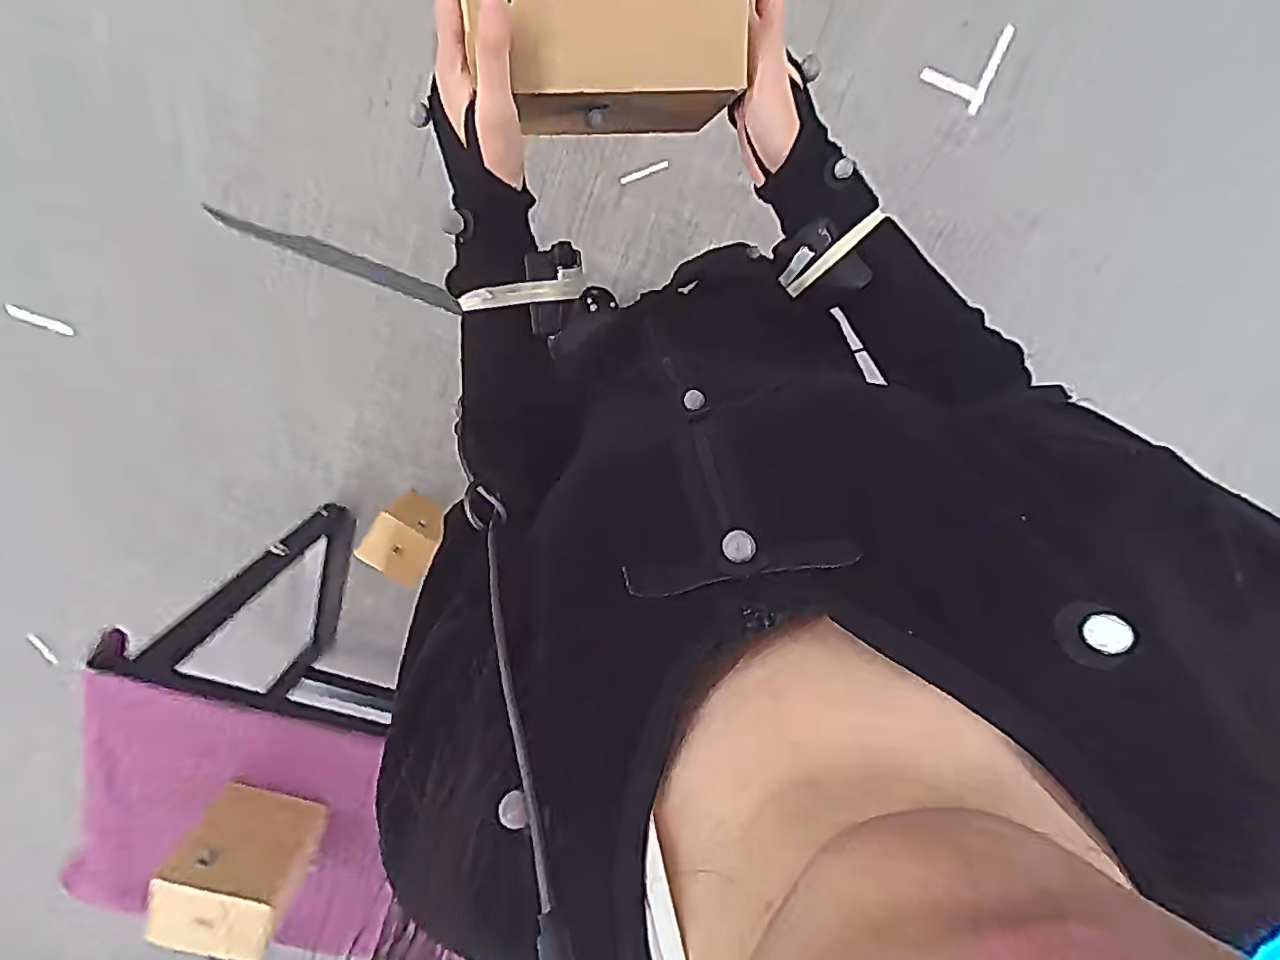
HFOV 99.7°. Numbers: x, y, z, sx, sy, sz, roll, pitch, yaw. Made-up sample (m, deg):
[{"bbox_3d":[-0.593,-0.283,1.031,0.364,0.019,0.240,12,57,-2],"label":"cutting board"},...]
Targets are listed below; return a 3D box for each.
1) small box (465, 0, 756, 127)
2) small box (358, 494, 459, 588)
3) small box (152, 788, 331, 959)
[{"bbox_3d":[-0.023,-0.355,0.376,0.179,0.176,0.168,-3,115,-5],"label":"small box"},{"bbox_3d":[-0.637,0.160,1.507,0.179,0.176,0.168,34,106,-15],"label":"small box"},{"bbox_3d":[-0.666,0.662,0.919,0.179,0.176,0.168,20,111,-9],"label":"small box"}]
